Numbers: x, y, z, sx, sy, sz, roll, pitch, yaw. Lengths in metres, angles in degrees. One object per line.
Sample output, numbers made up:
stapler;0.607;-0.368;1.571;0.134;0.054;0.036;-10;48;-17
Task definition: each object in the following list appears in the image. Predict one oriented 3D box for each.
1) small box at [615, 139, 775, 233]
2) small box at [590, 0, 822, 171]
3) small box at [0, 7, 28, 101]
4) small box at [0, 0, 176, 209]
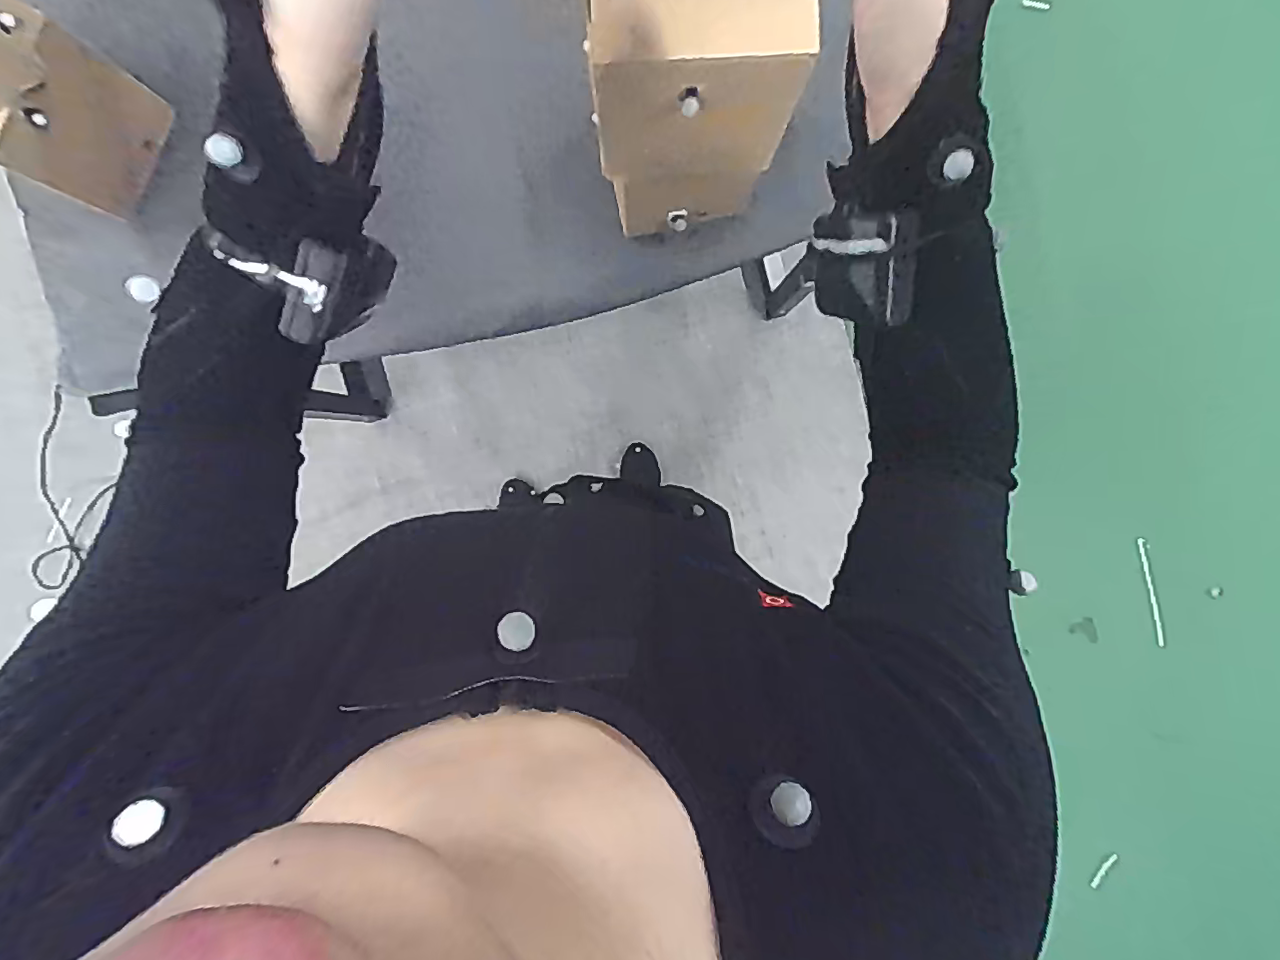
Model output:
small box;0.045;-0.426;0.642;0.168;0.176;0.179;-13;94;2
small box;0.048;-0.402;0.480;0.179;0.176;0.168;-3;93;1
small box;-0.719;-0.439;0.472;0.179;0.176;0.168;-33;95;2
small box;-0.721;-0.455;0.636;0.179;0.176;0.168;26;94;-2
